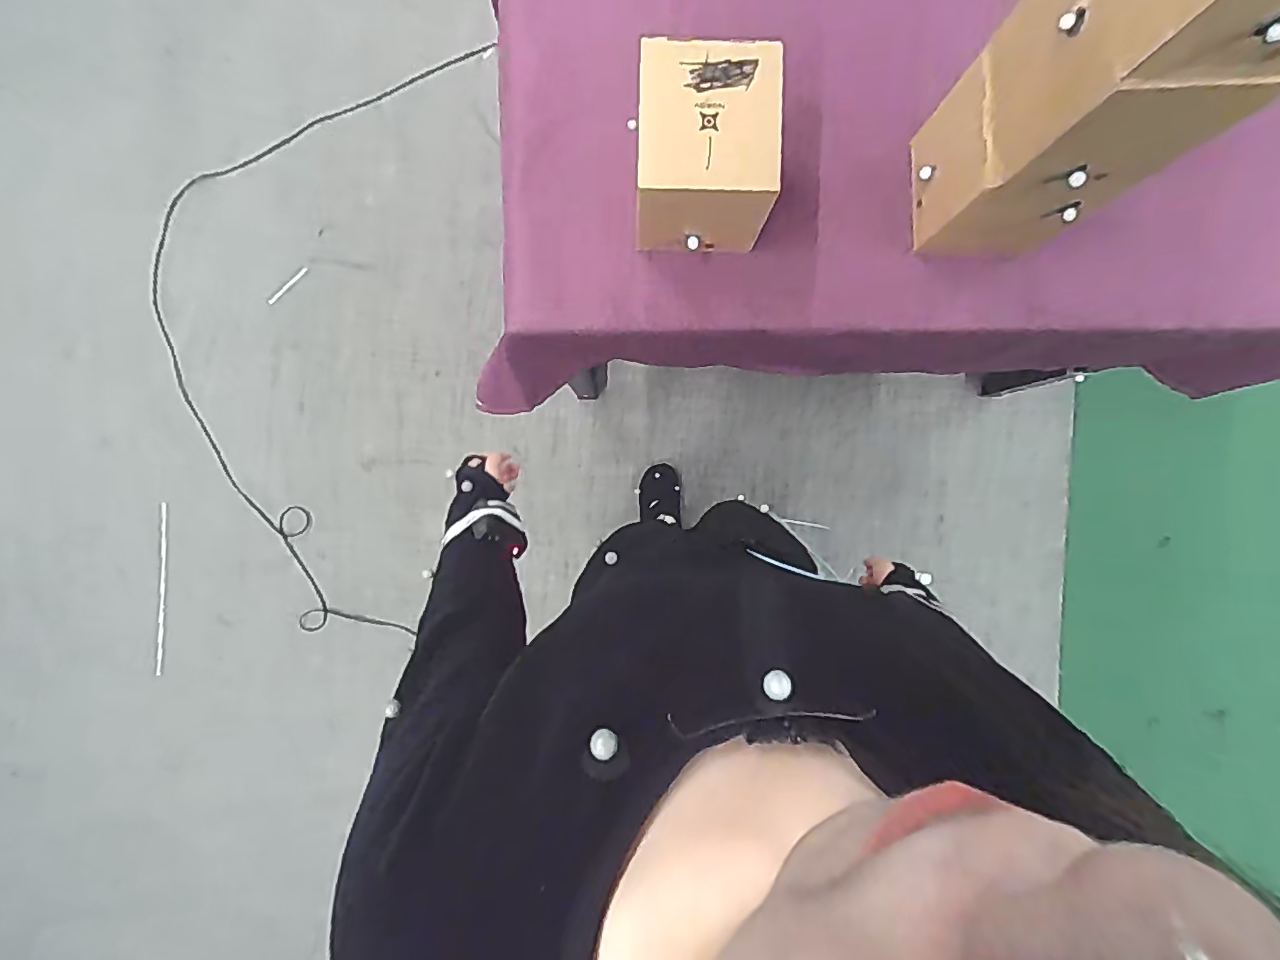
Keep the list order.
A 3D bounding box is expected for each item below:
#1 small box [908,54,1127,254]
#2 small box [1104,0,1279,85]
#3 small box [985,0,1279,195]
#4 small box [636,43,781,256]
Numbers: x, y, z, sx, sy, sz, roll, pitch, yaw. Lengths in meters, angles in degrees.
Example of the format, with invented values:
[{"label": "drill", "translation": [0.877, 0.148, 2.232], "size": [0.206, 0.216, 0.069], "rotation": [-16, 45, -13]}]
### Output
[{"label": "small box", "translation": [0.480, -0.413, 0.709], "size": [0.179, 0.176, 0.168], "rotation": [0, 88, 0]}, {"label": "small box", "translation": [0.475, -0.428, 0.383], "size": [0.168, 0.176, 0.179], "rotation": [-3, 90, 1]}, {"label": "small box", "translation": [0.479, -0.418, 0.546], "size": [0.168, 0.176, 0.179], "rotation": [-1, 89, 1]}, {"label": "small box", "translation": [0.081, -0.419, 0.709], "size": [0.168, 0.176, 0.179], "rotation": [2, 90, 0]}]
